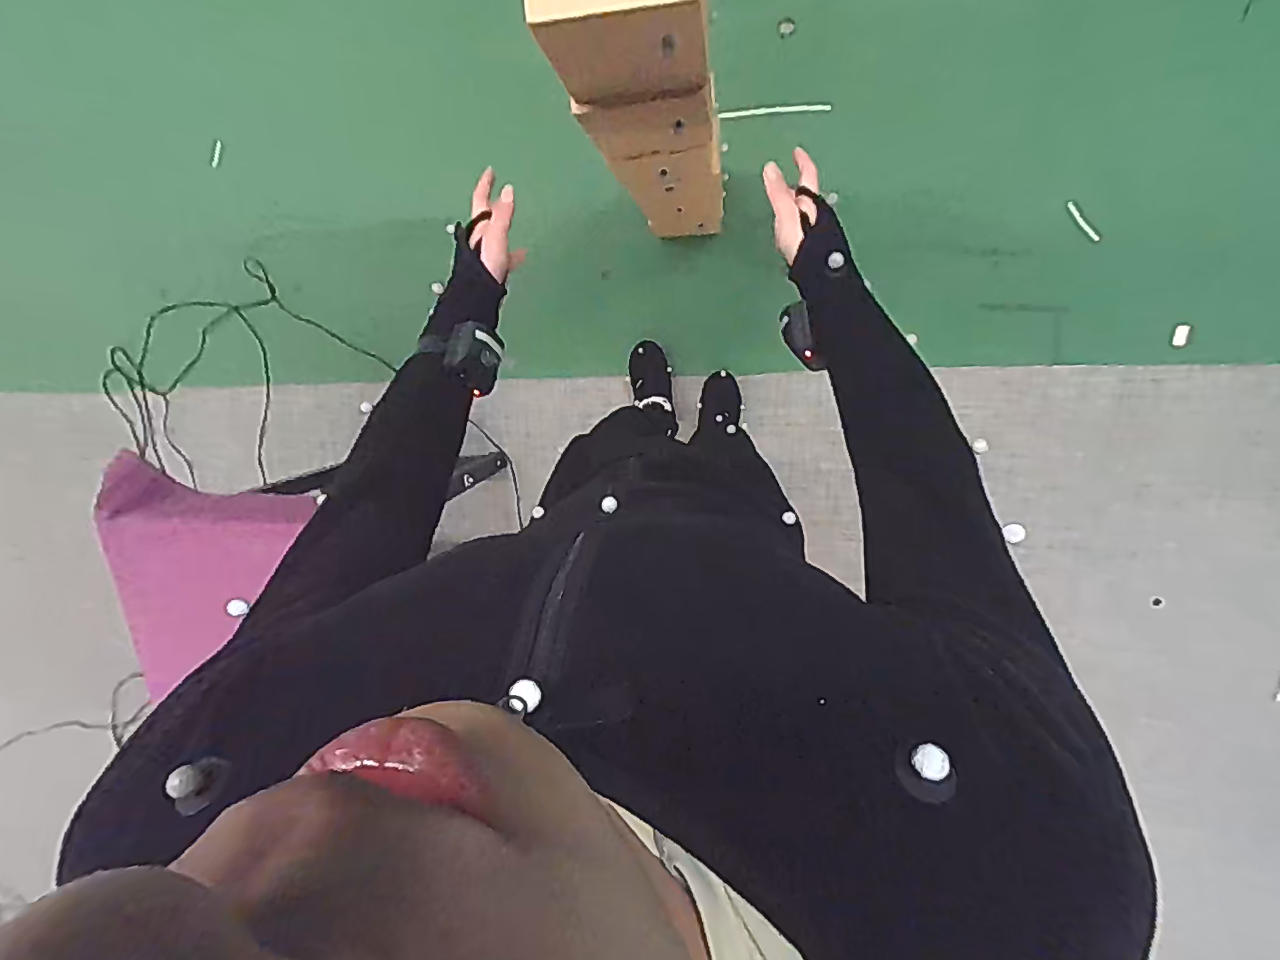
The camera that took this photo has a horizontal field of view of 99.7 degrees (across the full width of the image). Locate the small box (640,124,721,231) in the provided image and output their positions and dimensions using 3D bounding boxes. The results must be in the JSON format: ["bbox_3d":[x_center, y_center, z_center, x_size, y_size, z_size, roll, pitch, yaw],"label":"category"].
[{"bbox_3d":[0.091,-0.670,1.214,0.179,0.176,0.168,-2,103,11],"label":"small box"}]

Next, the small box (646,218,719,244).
[{"bbox_3d":[0.111,-0.706,1.371,0.179,0.176,0.168,0,103,10],"label":"small box"}]

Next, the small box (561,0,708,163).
[{"bbox_3d":[0.003,-0.561,0.744,0.179,0.176,0.168,-1,102,11],"label":"small box"}]

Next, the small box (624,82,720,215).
[{"bbox_3d":[0.062,-0.634,1.057,0.179,0.176,0.168,-4,103,10],"label":"small box"}]

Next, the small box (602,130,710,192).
[{"bbox_3d":[0.027,-0.597,0.902,0.168,0.176,0.179,-2,104,10],"label":"small box"}]
